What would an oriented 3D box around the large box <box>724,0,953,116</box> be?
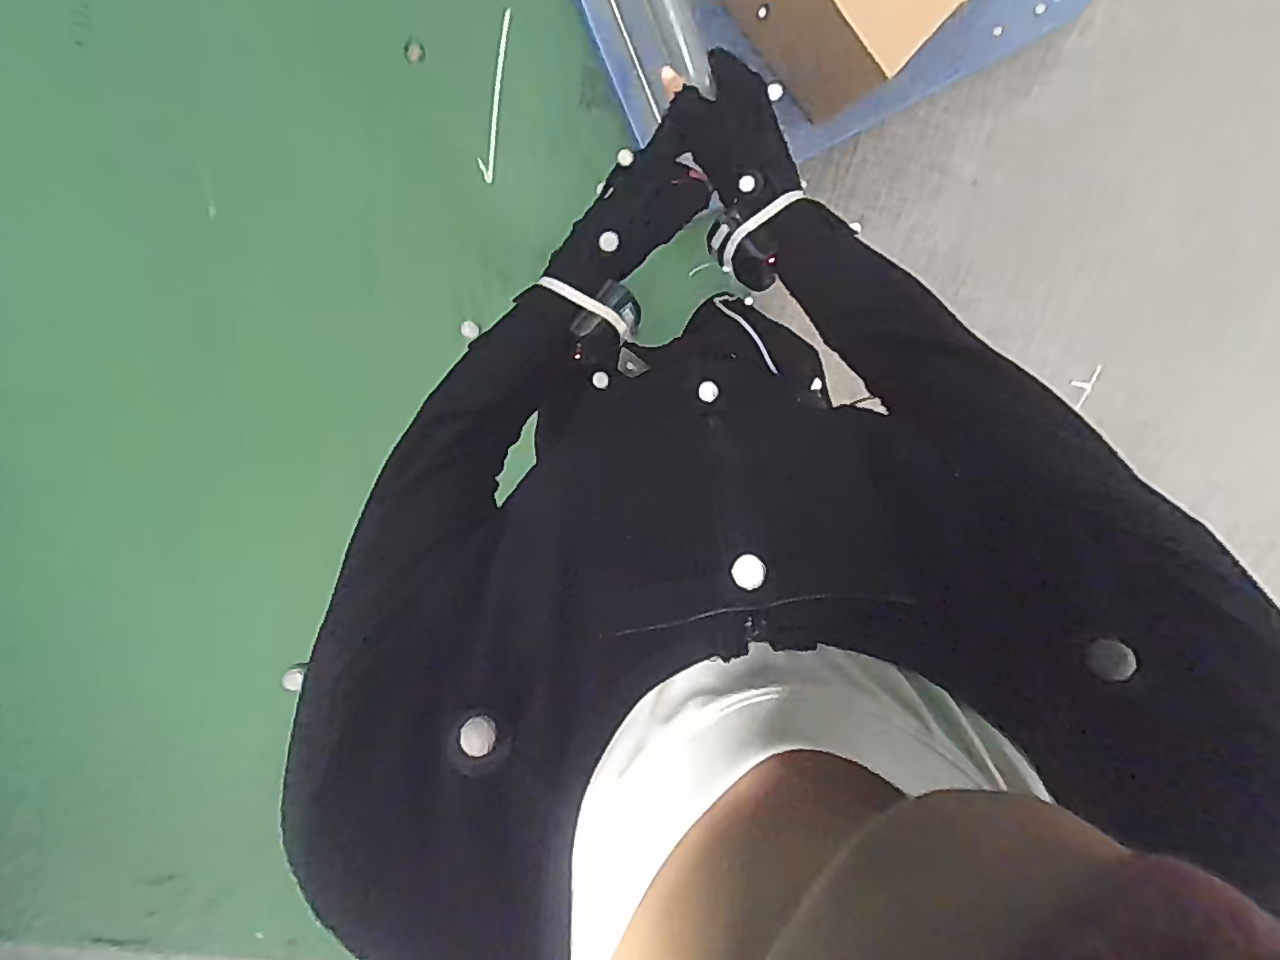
[{"bbox_3d":[0.306,-0.864,0.814,0.408,0.320,0.320,41,105,-17],"label":"large box"}]
